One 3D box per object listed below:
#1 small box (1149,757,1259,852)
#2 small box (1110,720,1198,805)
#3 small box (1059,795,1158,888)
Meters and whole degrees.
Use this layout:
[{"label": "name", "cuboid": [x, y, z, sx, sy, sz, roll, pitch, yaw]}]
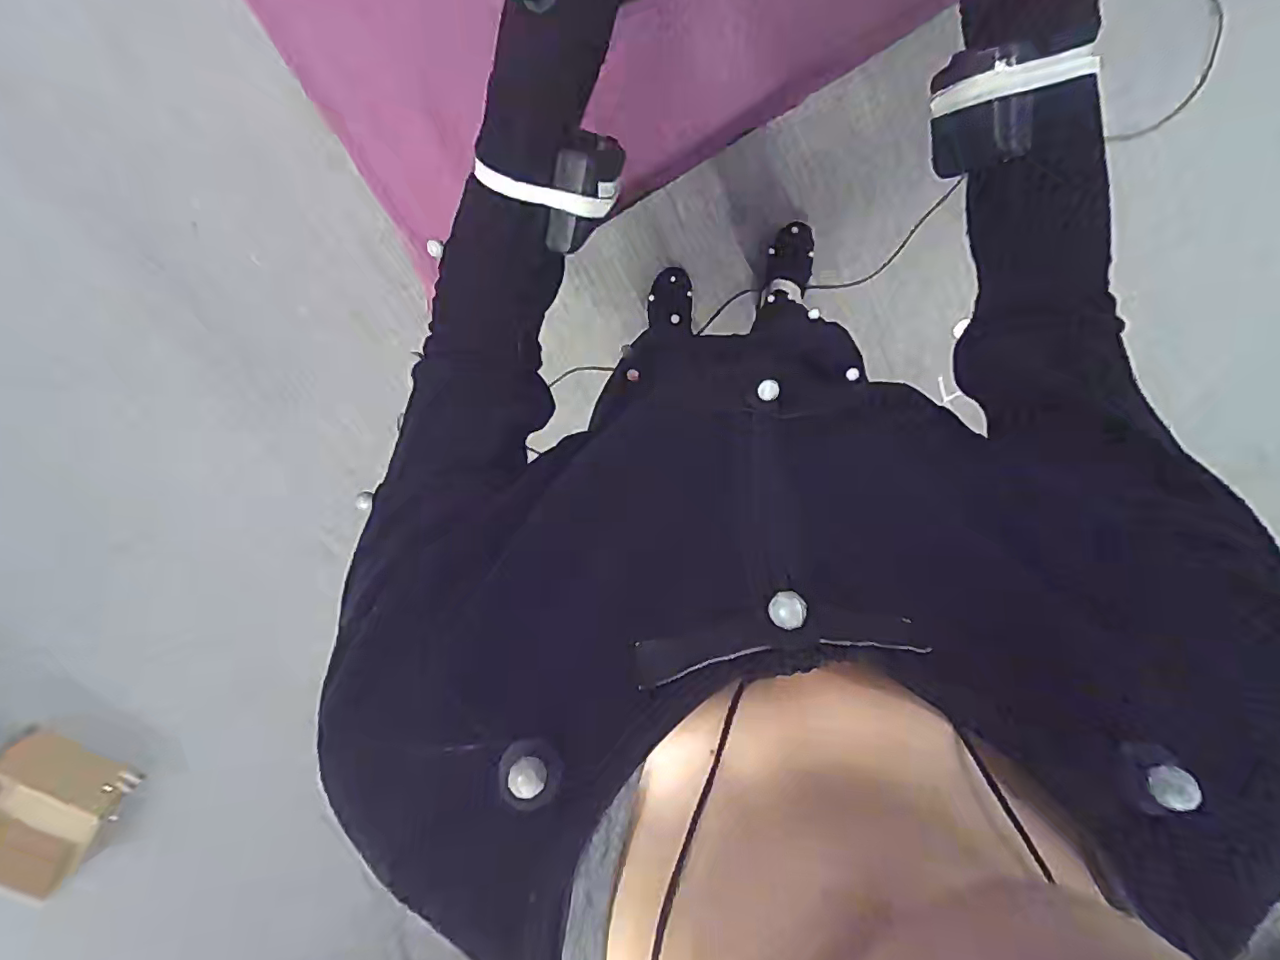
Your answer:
[{"label": "small box", "cuboid": [1.792, 1.036, 1.733, 0.179, 0.176, 0.168, -32, 109, 11]}, {"label": "small box", "cuboid": [1.799, 0.983, 1.887, 0.179, 0.176, 0.168, -32, 108, 11]}, {"label": "small box", "cuboid": [1.540, 1.194, 1.792, 0.179, 0.176, 0.168, -31, 109, 10]}]
